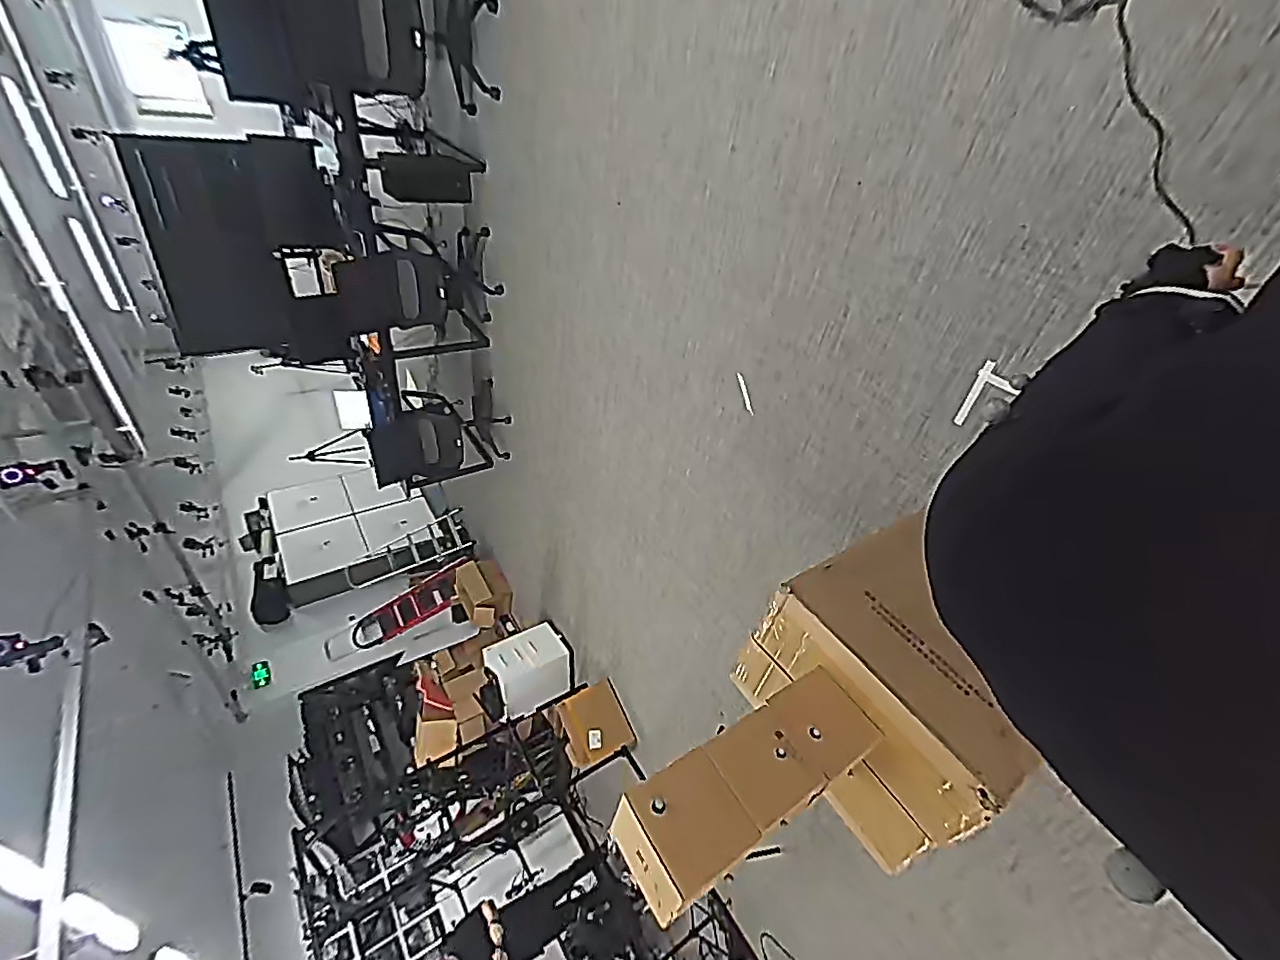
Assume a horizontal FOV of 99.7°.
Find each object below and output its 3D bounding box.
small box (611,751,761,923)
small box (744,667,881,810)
[{"bbox_3d":[0.074,0.605,0.937,0.179,0.176,0.168,48,141,36],"label":"small box"},{"bbox_3d":[0.348,0.518,1.098,0.179,0.176,0.168,49,142,36],"label":"small box"}]
